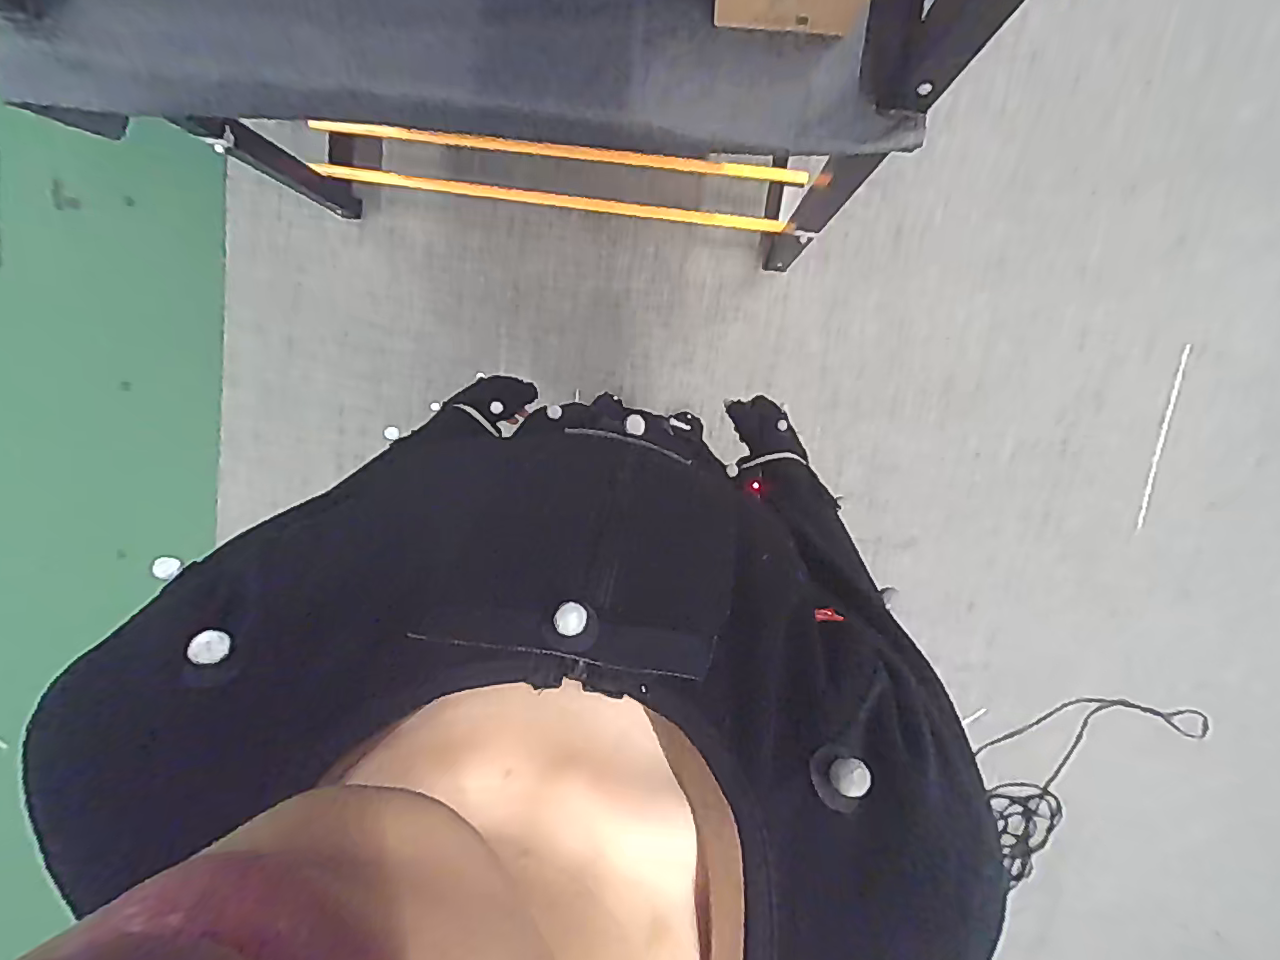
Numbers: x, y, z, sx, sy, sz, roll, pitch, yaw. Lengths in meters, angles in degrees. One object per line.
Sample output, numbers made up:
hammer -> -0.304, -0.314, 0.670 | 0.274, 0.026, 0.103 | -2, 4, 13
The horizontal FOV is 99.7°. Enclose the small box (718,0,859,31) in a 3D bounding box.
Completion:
small box -> 0.175, -0.623, 0.568 | 0.168, 0.176, 0.179 | 6, 98, 2
